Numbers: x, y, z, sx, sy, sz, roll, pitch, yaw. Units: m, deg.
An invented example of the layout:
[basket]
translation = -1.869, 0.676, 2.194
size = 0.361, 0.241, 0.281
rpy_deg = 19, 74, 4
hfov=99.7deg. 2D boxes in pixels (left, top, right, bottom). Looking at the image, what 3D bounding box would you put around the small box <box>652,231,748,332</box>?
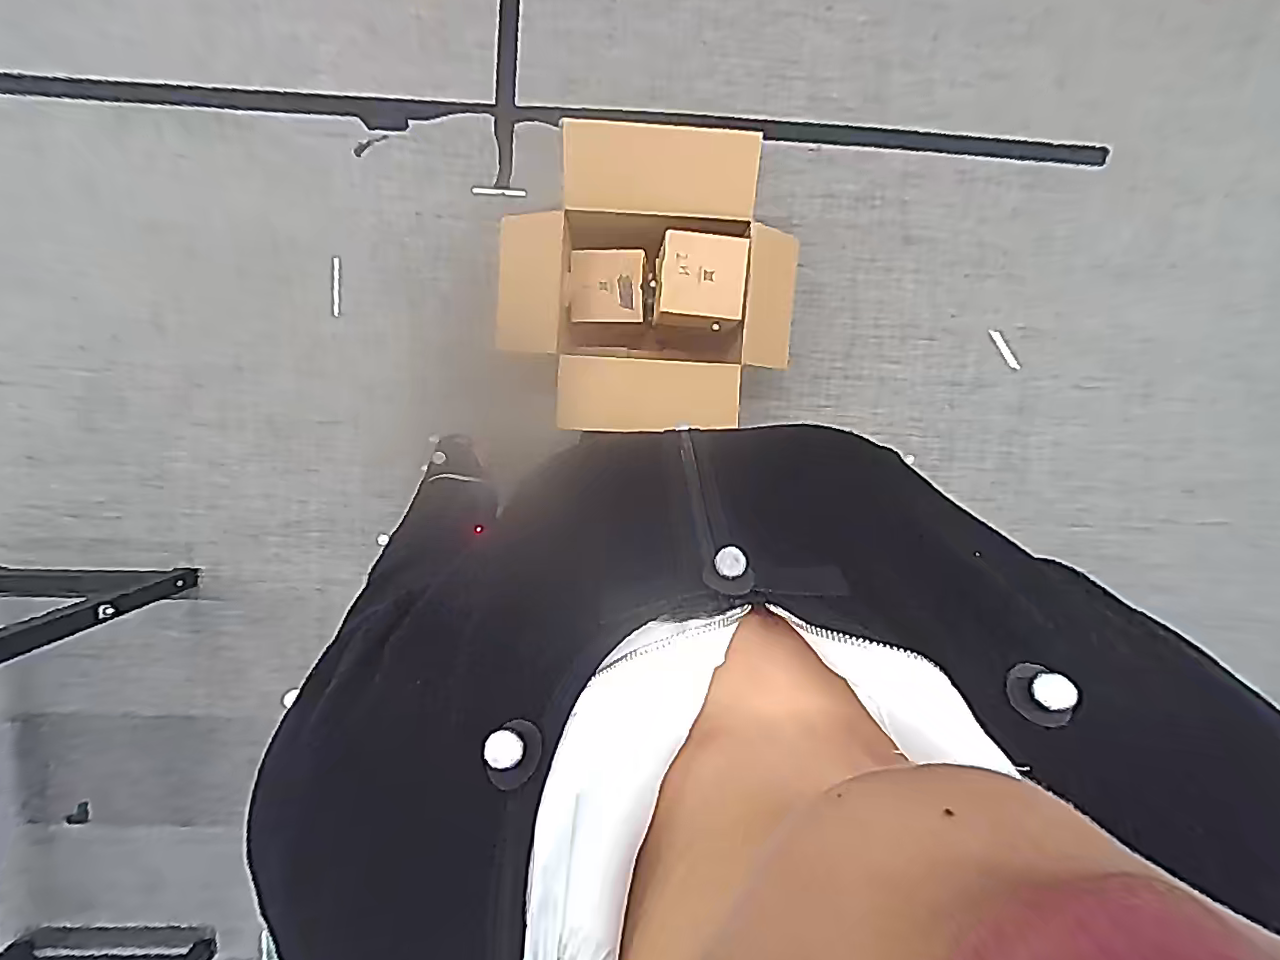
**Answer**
[small box]
translation = 0.125, -0.427, 1.190
size = 0.179, 0.176, 0.168
rpy_deg = 5, 95, -3
